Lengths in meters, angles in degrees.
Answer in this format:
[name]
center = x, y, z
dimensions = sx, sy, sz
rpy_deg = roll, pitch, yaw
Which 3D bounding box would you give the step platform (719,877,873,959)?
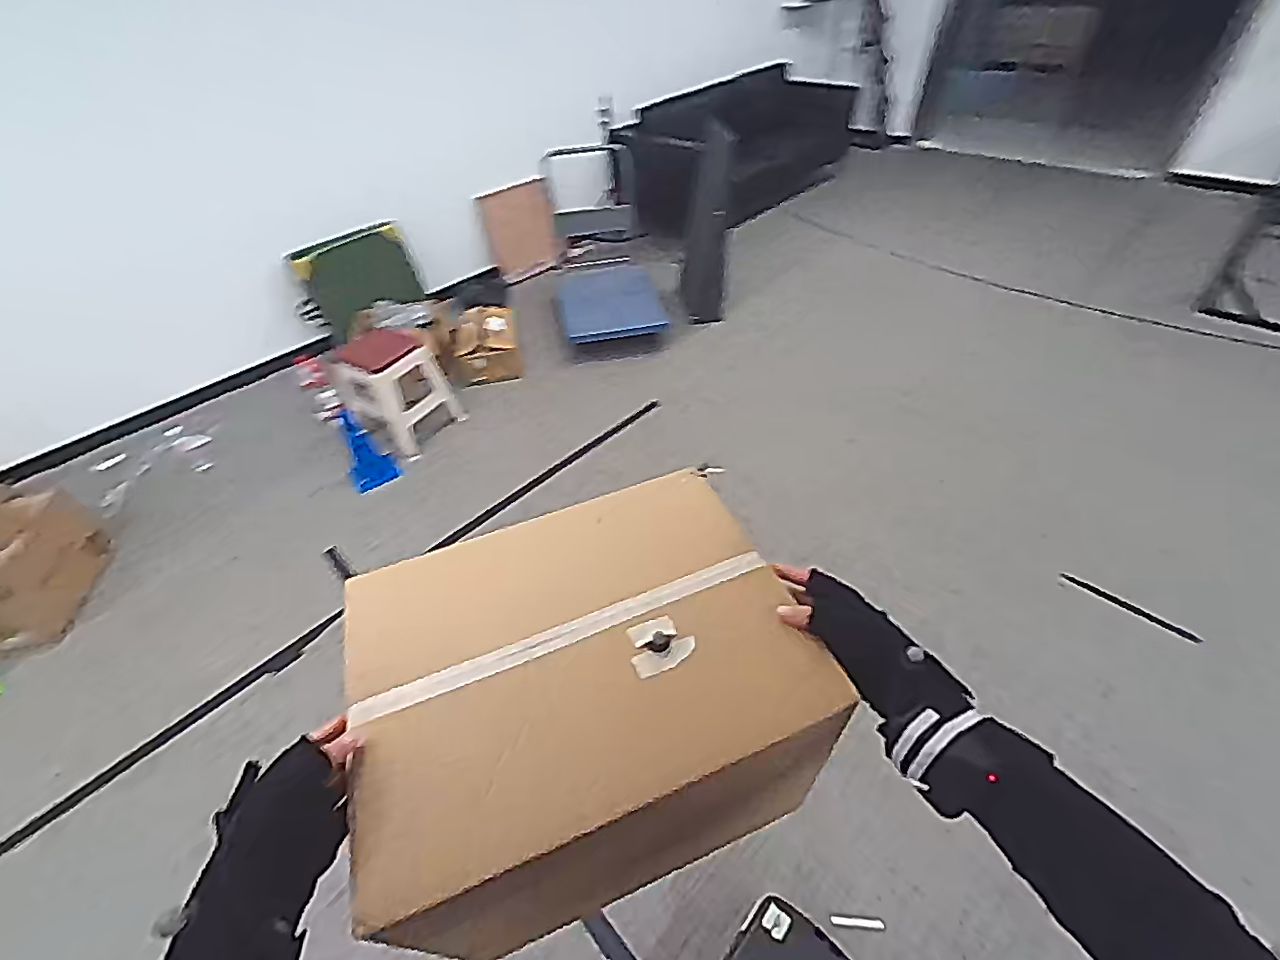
[step platform]
center = 0.200, 1.181, 1.060
dimensions = 0.286, 0.204, 0.684
rpy_deg = 31, 54, 30

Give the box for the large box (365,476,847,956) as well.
[large box]
center = -0.048, 0.255, 0.627
dimensions = 0.408, 0.320, 0.320
rpy_deg = -17, 47, -13
